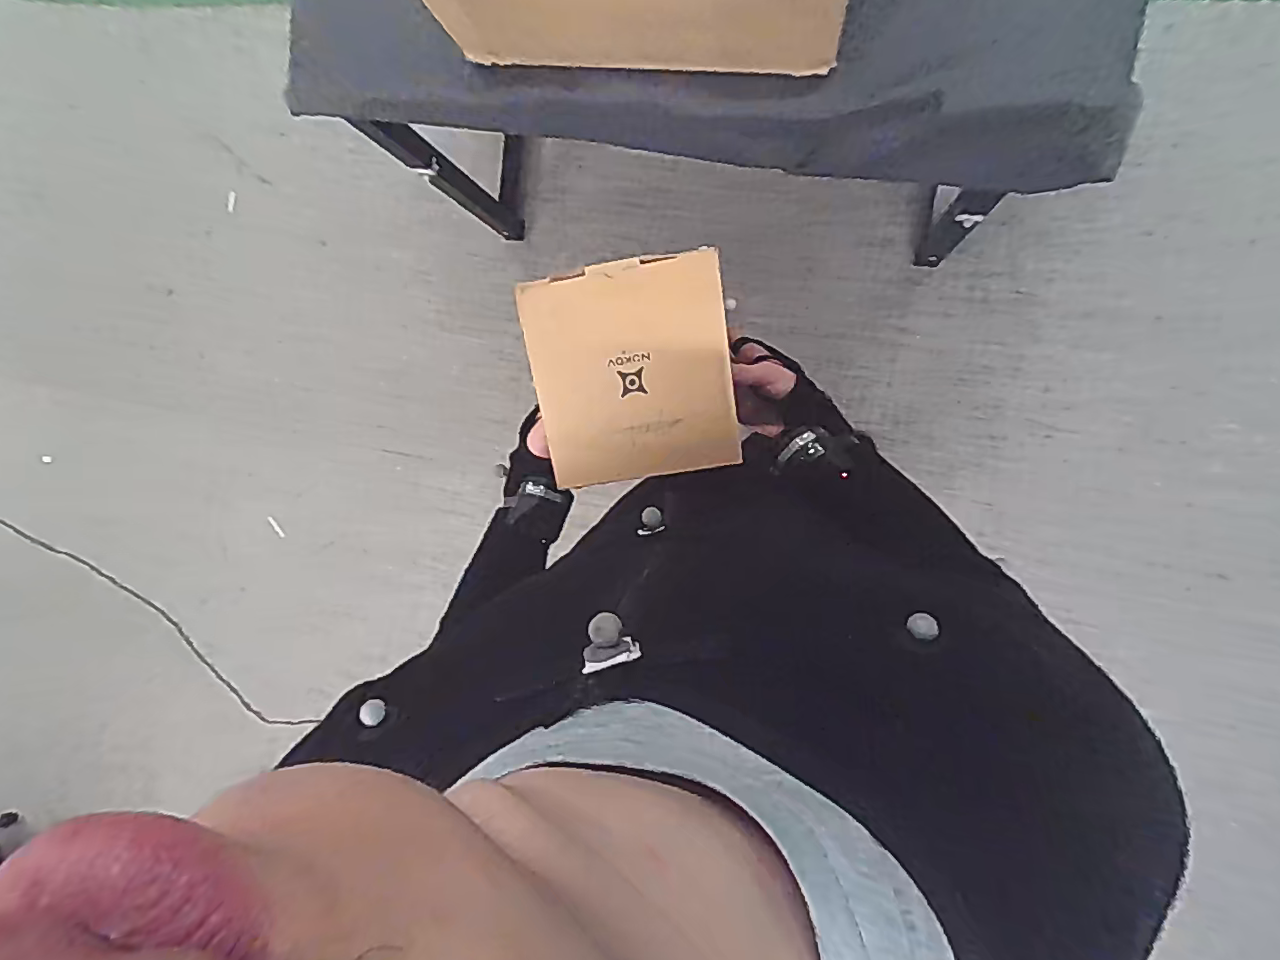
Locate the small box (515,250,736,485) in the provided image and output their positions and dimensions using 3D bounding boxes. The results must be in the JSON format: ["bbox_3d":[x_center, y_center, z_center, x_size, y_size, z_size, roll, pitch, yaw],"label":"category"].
[{"bbox_3d":[-0.003,-0.110,0.524,0.168,0.176,0.179,-7,108,8],"label":"small box"}]
